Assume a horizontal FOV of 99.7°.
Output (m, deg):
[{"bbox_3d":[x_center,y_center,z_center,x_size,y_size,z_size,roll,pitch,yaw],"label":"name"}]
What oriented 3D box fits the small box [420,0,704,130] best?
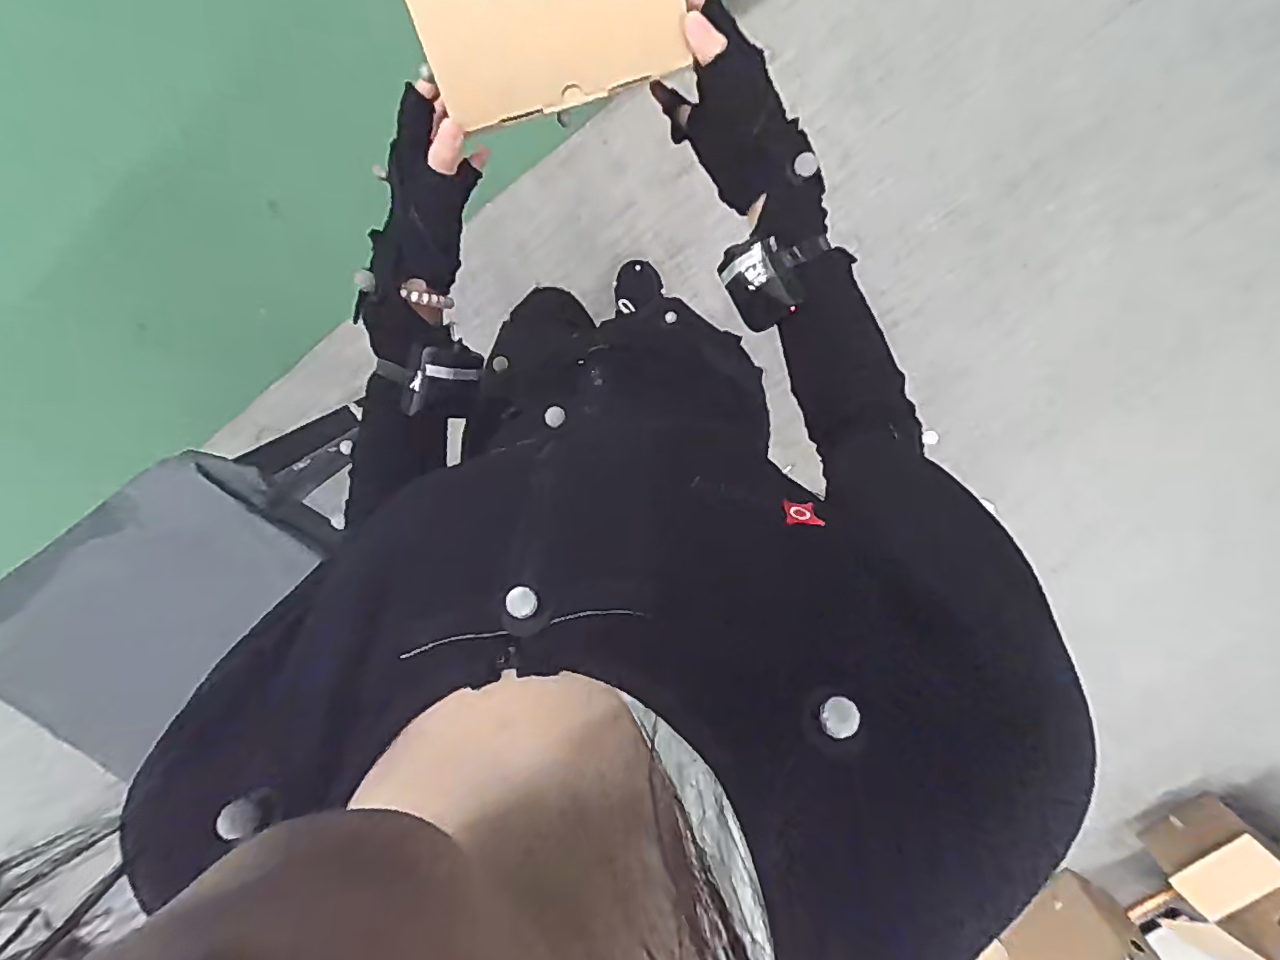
[{"bbox_3d":[-0.065,-0.364,0.370,0.168,0.176,0.179,-15,127,3],"label":"small box"}]
